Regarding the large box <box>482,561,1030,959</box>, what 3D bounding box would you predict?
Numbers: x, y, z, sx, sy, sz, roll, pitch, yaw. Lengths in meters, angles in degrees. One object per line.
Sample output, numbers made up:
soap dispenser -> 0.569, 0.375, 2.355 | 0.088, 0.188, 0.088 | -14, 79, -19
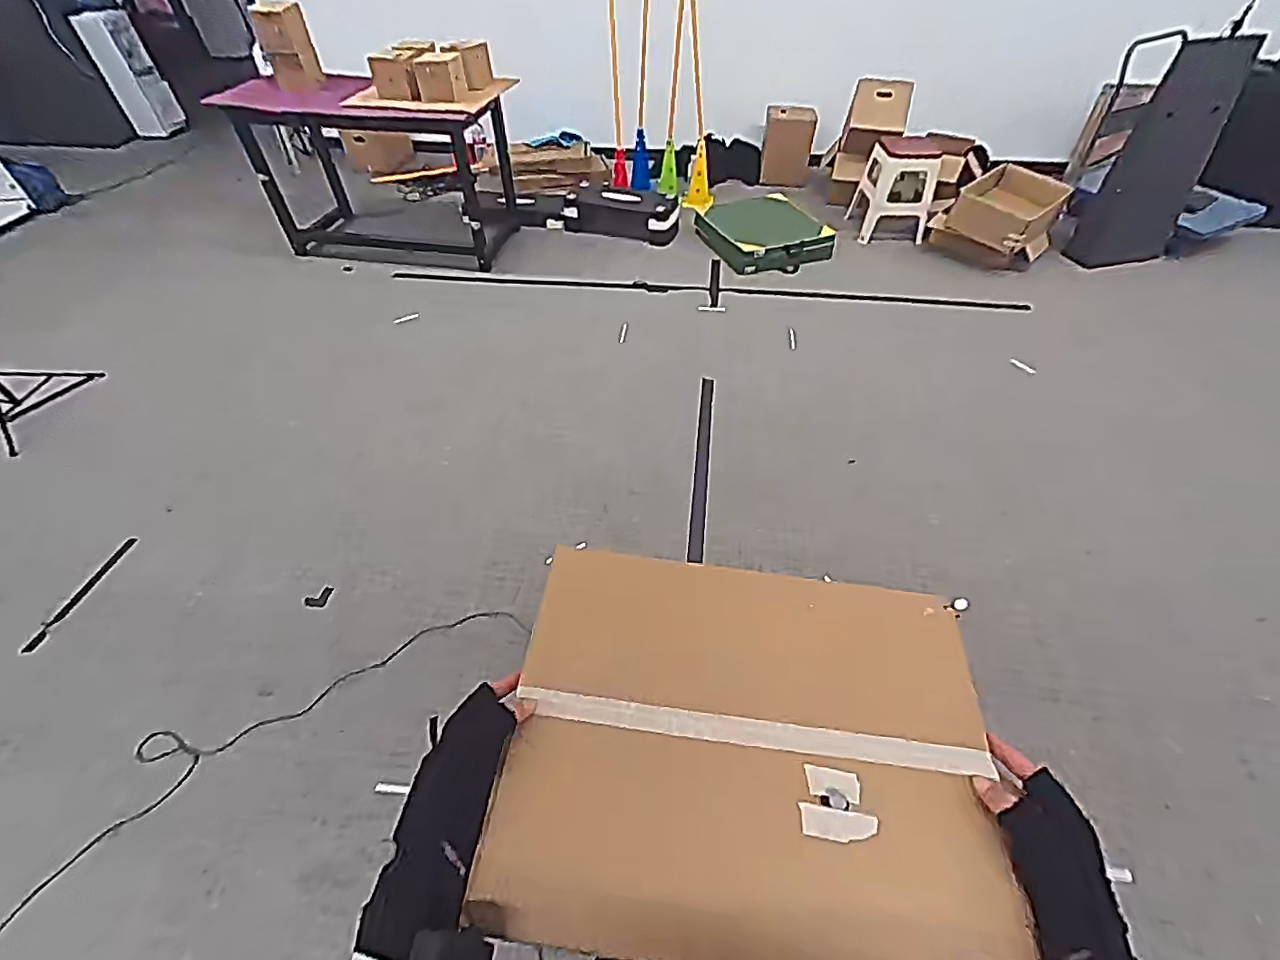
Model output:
large box -> 0.089, 0.316, 0.589 | 0.408, 0.320, 0.320 | 7, 52, 2
